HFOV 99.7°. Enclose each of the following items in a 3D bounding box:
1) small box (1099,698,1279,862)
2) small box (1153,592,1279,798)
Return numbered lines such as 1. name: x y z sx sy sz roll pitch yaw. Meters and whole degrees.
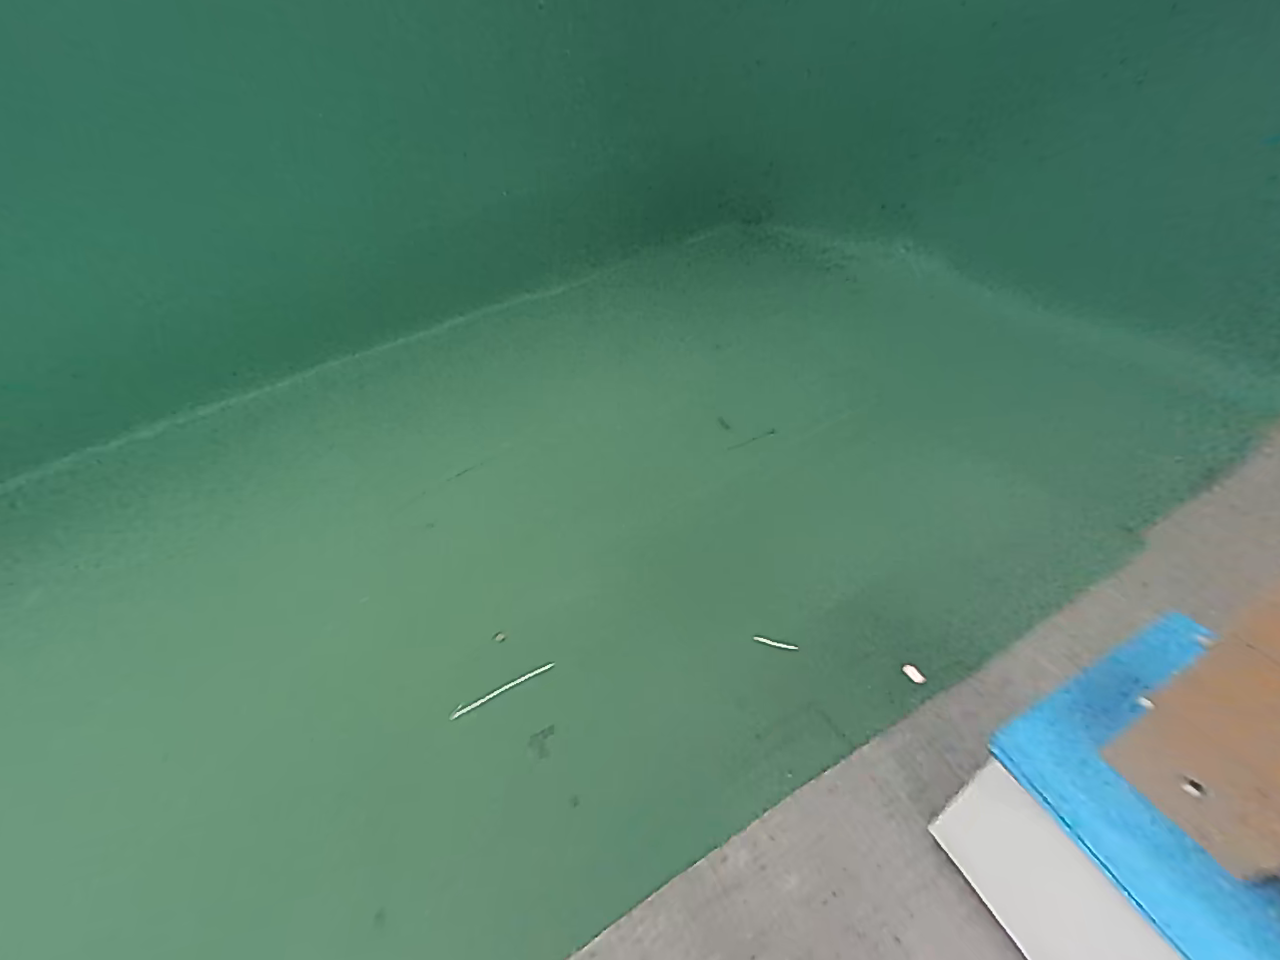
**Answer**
1. small box: 0.761 0.353 0.693 0.168 0.176 0.179 -23 46 -14
2. small box: 0.737 0.232 0.584 0.168 0.176 0.179 -23 46 -15
